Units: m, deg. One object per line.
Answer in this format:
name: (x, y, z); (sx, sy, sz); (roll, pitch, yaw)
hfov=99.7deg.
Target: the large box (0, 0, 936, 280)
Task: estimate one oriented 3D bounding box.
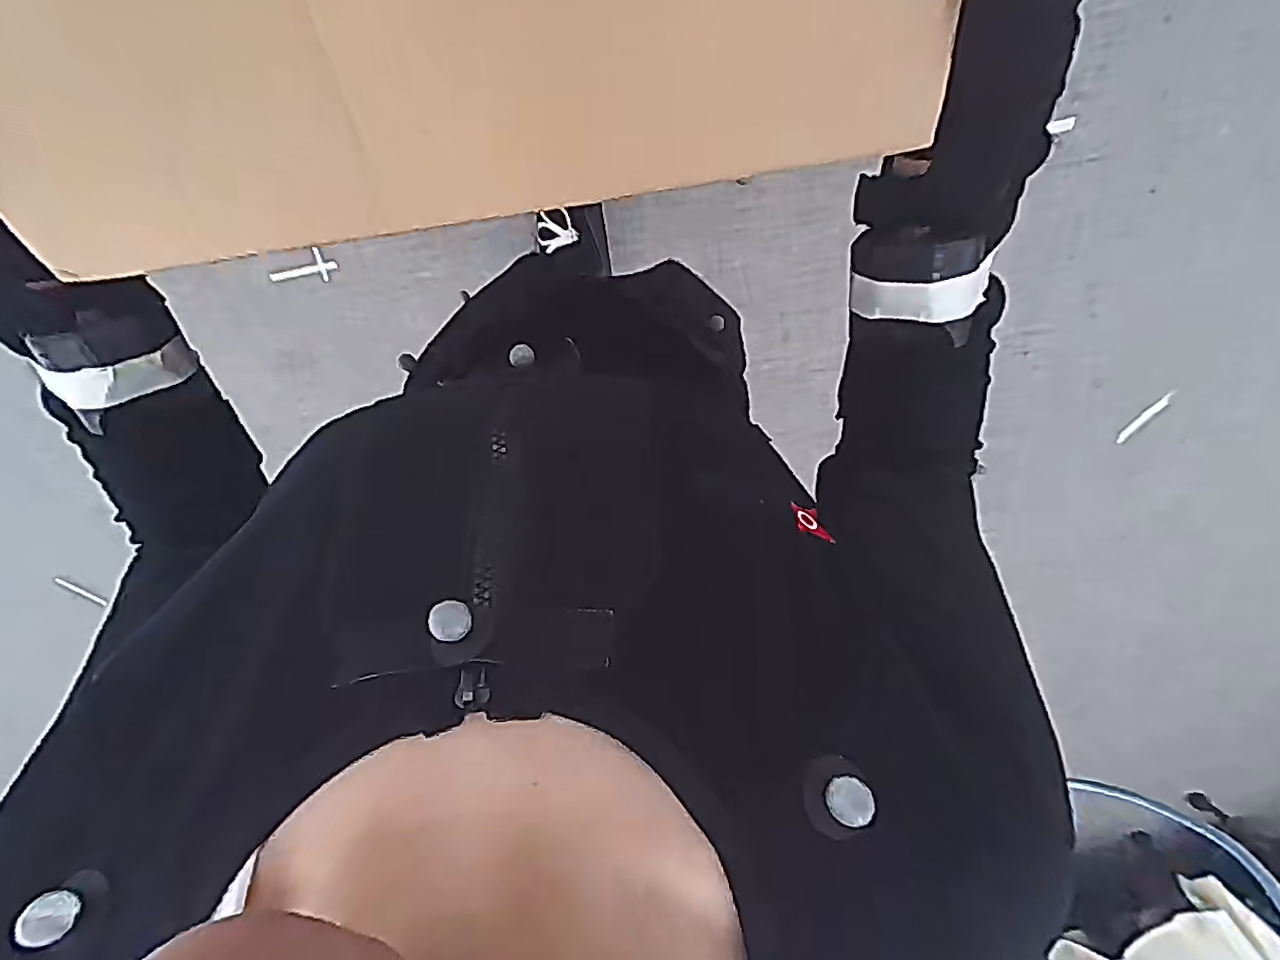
large box: (-0.101, -0.337, 0.261); (0.408, 0.320, 0.320); (-7, 132, 3)
